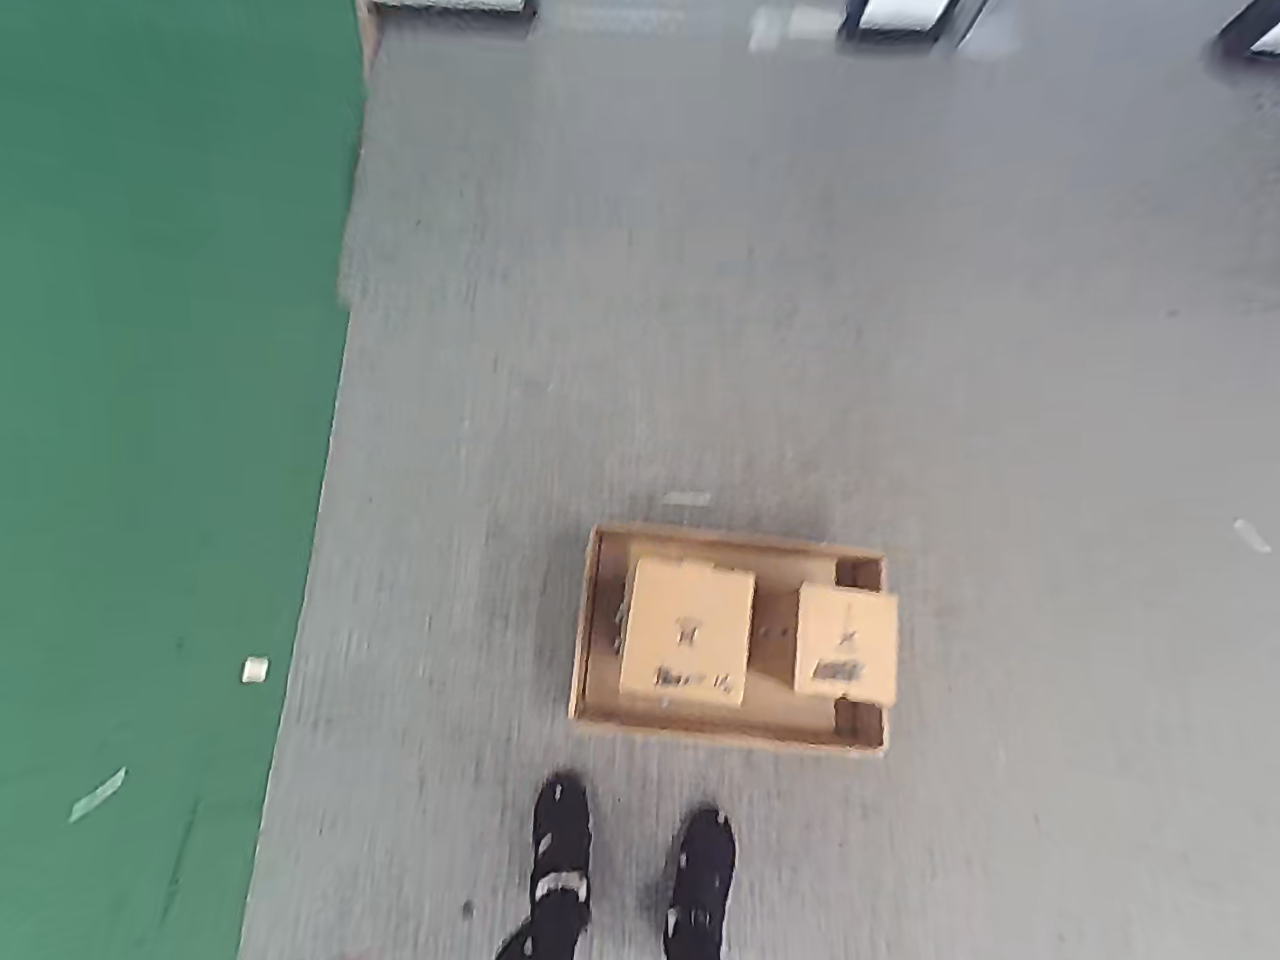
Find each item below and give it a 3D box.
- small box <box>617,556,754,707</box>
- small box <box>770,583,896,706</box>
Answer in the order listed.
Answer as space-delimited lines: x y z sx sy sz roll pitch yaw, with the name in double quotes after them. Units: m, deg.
0.060 0.221 0.799 0.168 0.176 0.179 9 74 -1 "small box"
0.334 0.288 0.962 0.168 0.176 0.179 8 74 1 "small box"
